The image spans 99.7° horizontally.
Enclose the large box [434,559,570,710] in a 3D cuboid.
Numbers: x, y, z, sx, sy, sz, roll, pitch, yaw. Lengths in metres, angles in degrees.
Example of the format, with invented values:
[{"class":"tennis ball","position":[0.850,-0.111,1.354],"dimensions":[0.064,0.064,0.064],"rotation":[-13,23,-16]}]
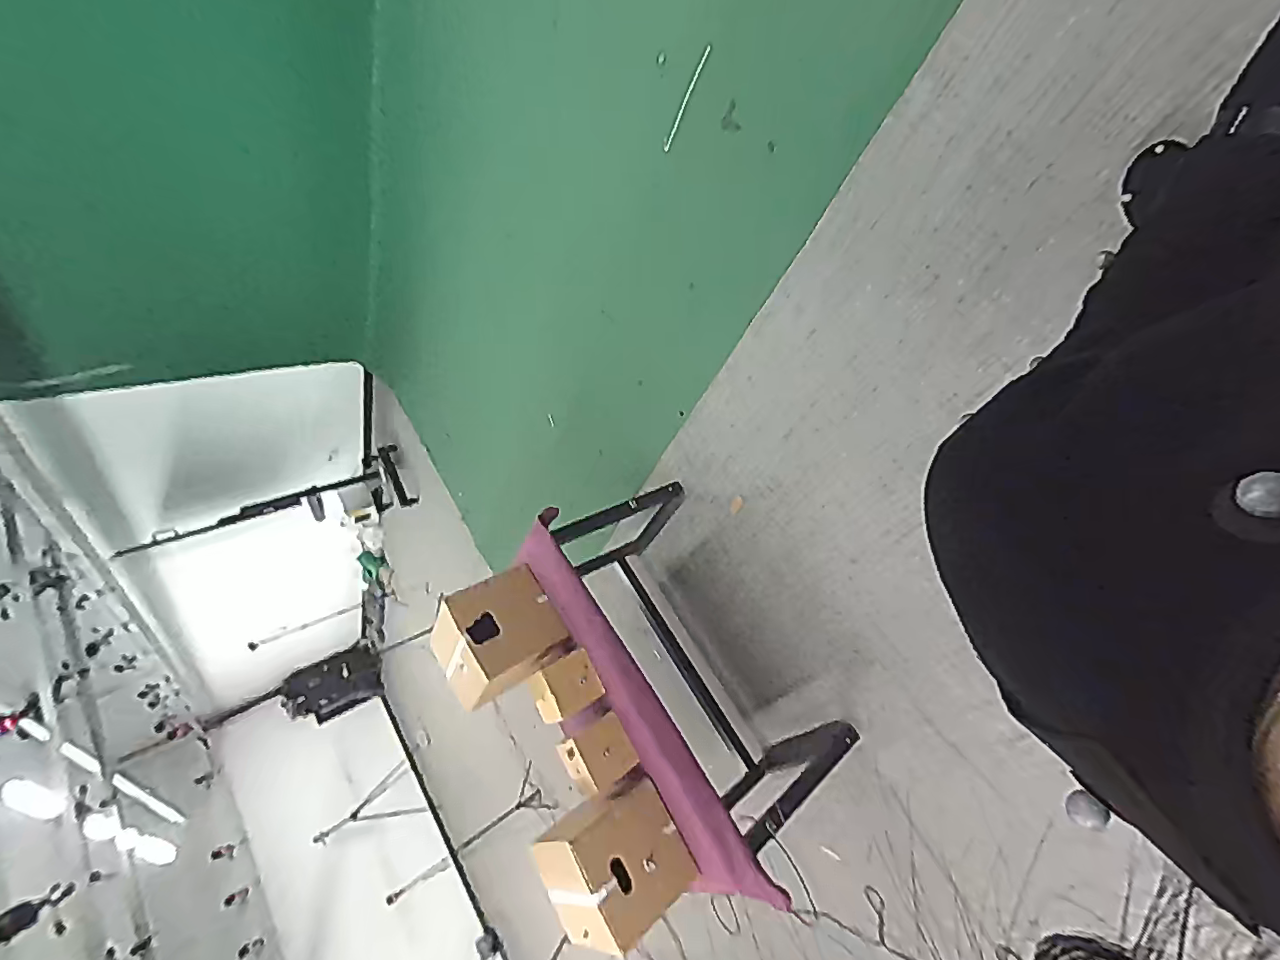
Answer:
[{"class":"large box","position":[-0.499,0.544,1.918],"dimensions":[0.320,0.320,0.408],"rotation":[53,138,18]}]
